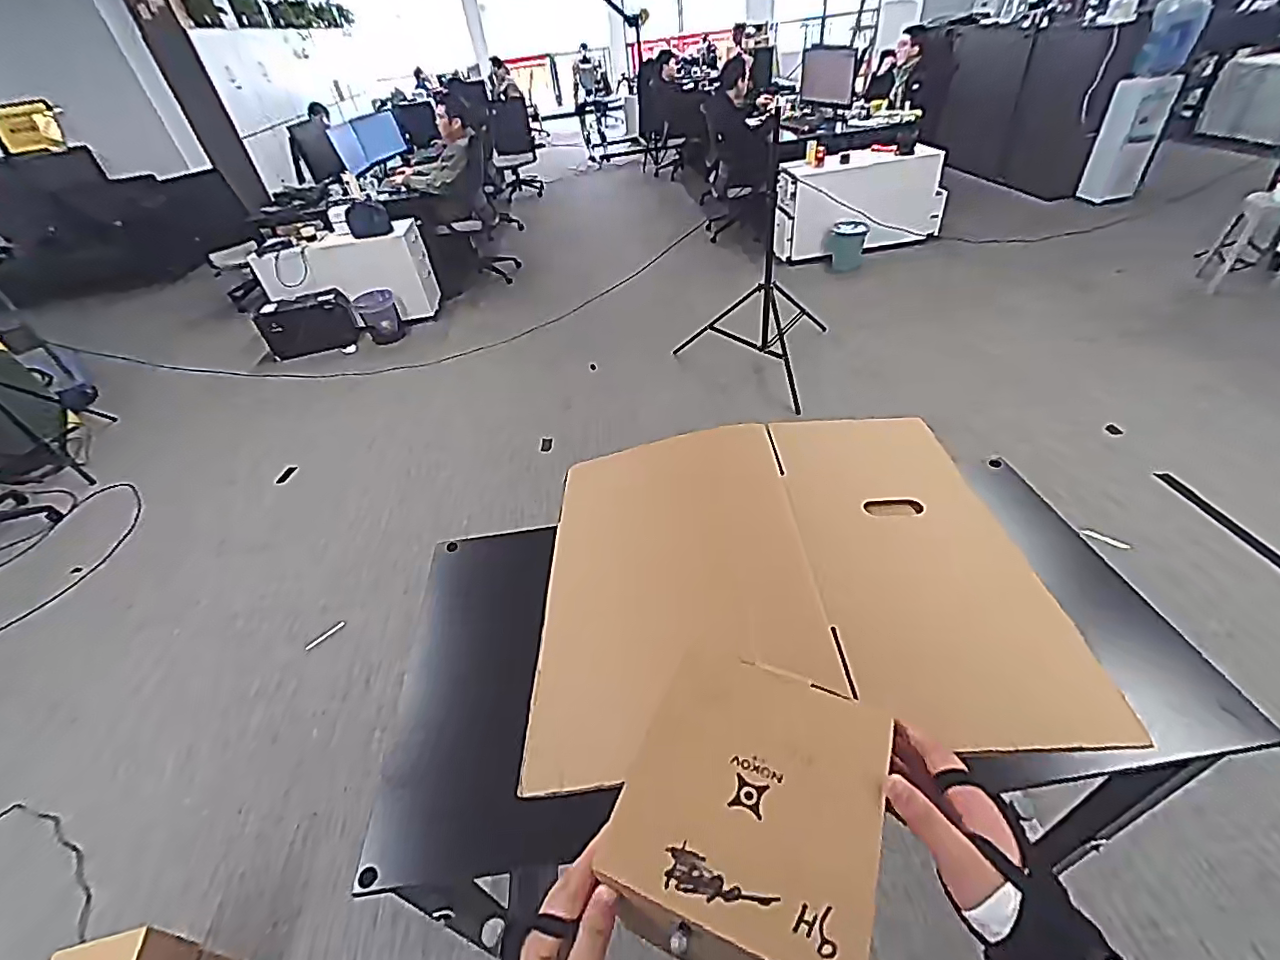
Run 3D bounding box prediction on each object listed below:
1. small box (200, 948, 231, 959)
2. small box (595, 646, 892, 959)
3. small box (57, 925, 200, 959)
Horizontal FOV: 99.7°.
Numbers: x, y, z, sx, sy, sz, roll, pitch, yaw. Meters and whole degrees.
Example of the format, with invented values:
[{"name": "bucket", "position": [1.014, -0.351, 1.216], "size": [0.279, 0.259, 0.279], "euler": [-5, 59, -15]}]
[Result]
[{"name": "small box", "position": [-0.953, 1.100, 1.101], "size": [0.168, 0.176, 0.179], "euler": [-11, 41, -3]}, {"name": "small box", "position": [0.085, 0.270, 0.422], "size": [0.168, 0.176, 0.179], "euler": [12, 43, 23]}, {"name": "small box", "position": [-0.973, 0.973, 1.002], "size": [0.168, 0.176, 0.179], "euler": [-12, 39, -7]}]
